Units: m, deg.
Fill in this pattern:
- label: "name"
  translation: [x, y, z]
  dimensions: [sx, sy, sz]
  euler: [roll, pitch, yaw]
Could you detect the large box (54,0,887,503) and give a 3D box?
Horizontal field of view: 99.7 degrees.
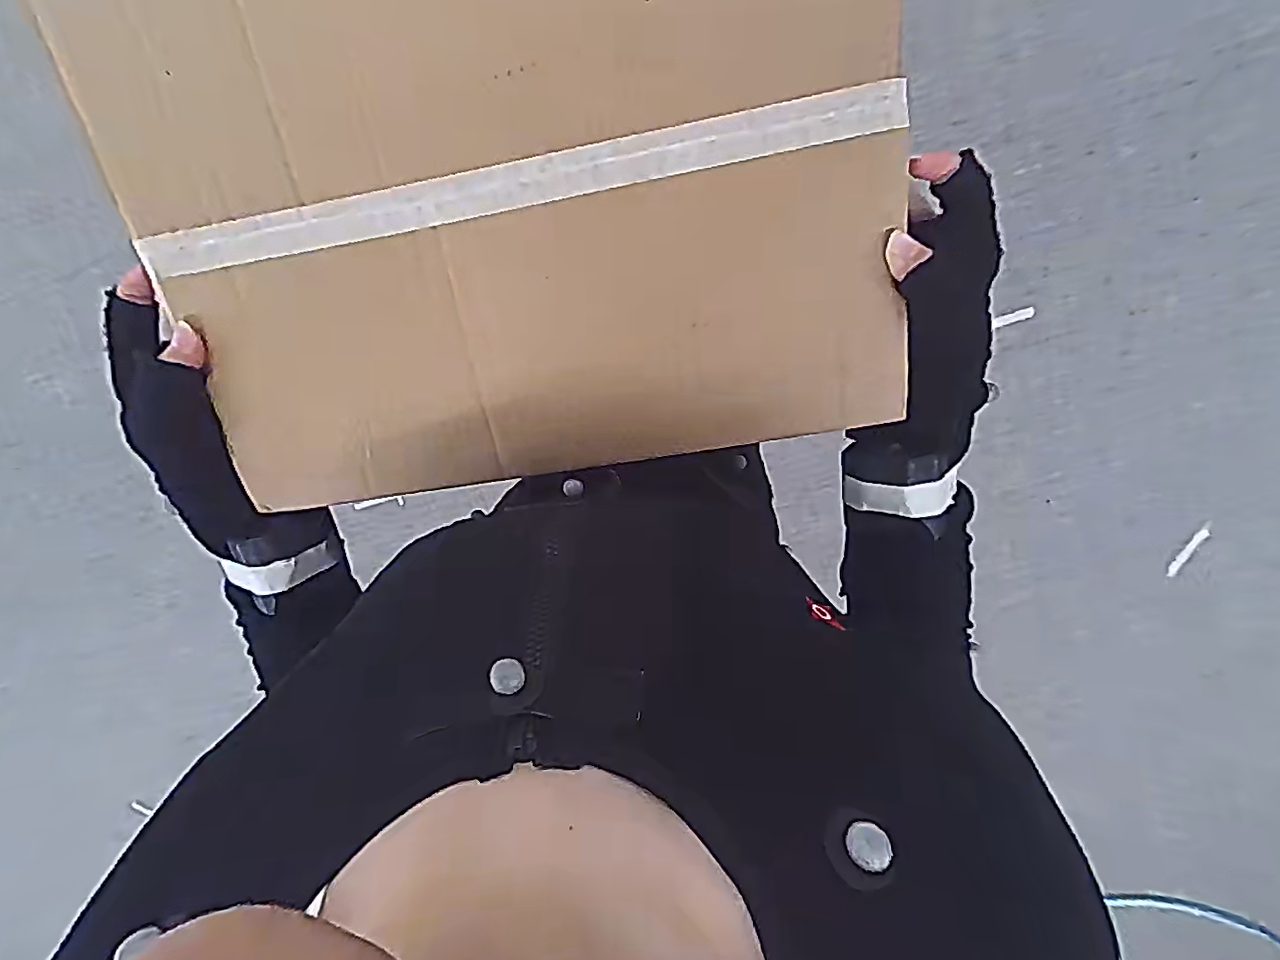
- label: "large box"
  translation: [-0.066, -0.208, 0.429]
  dimensions: [0.408, 0.320, 0.320]
  euler: [-8, 109, 6]
